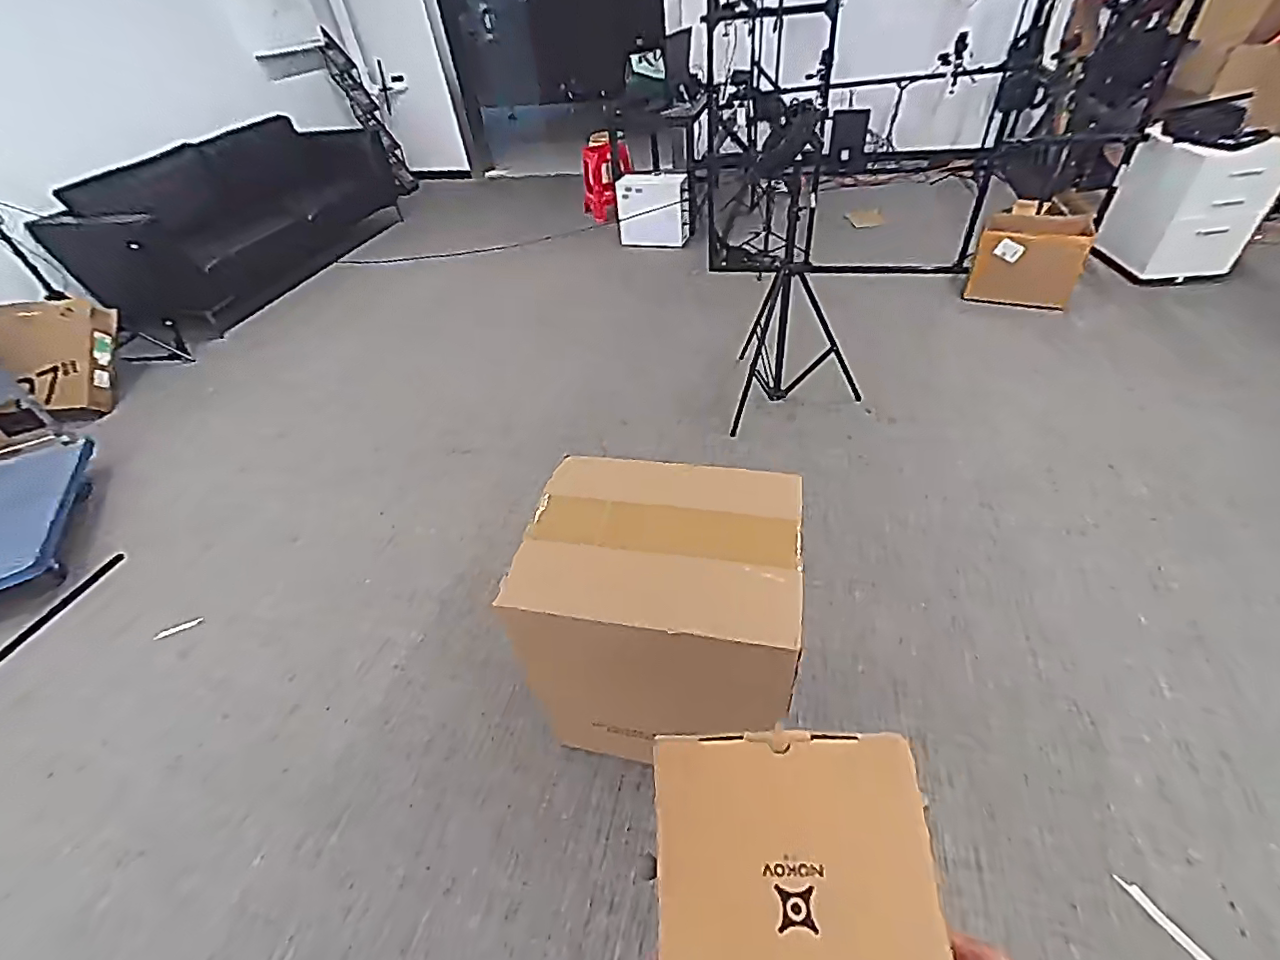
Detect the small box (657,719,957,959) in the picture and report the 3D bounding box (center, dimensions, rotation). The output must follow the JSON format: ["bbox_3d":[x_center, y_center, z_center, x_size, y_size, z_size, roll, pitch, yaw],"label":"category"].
[{"bbox_3d":[0.103,0.271,0.389,0.168,0.176,0.179,-4,63,6],"label":"small box"}]
